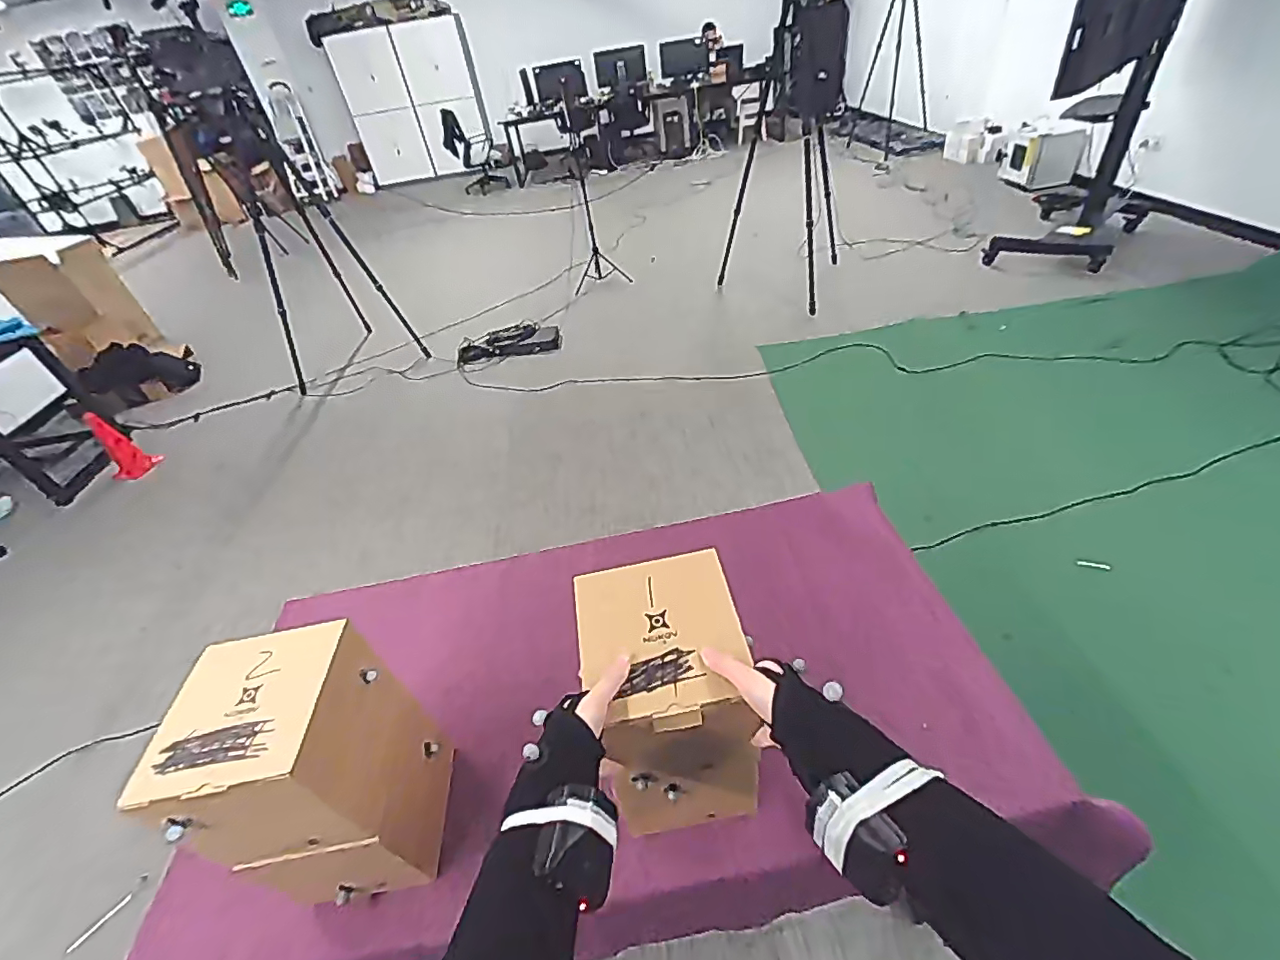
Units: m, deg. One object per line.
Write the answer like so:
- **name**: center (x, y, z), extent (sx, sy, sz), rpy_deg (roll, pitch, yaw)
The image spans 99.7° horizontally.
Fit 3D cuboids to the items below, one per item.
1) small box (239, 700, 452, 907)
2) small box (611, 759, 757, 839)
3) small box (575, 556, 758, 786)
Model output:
- **small box**: center (-0.362, 0.422, 0.709), extent (0.168, 0.176, 0.179), rpy_deg (-11, 41, 1)
- **small box**: center (0.050, 0.337, 0.712), extent (0.168, 0.176, 0.179), rpy_deg (-12, 42, 0)
- **small box**: center (0.029, 0.217, 0.601), extent (0.168, 0.176, 0.179), rpy_deg (-11, 42, -1)
